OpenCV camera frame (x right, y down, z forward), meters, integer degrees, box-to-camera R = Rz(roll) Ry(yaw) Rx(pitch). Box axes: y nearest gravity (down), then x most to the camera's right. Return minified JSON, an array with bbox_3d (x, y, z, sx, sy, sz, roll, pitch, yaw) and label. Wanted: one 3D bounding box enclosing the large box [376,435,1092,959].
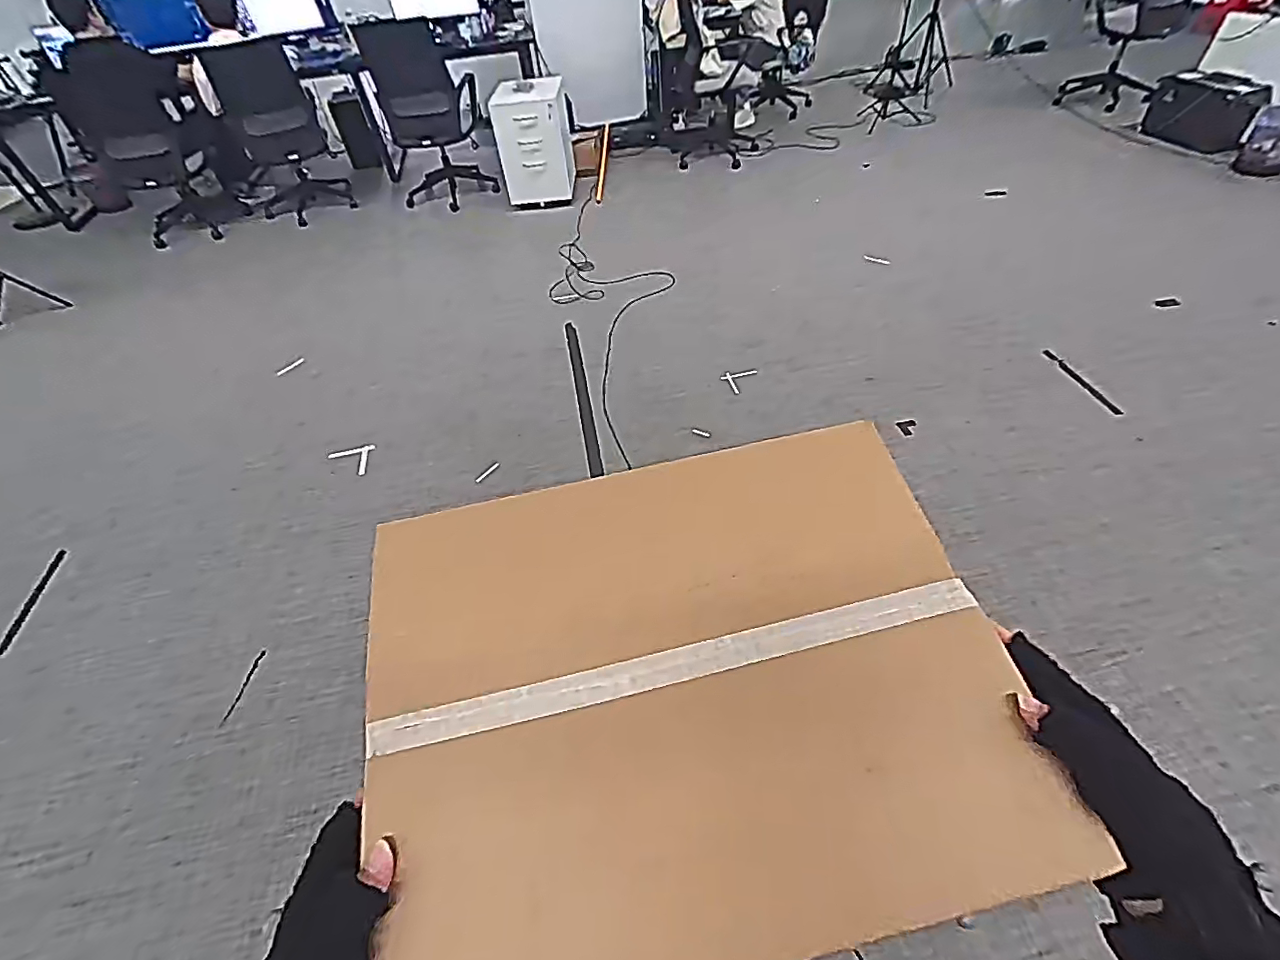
[{"bbox_3d":[0.037,0.208,0.486,0.408,0.320,0.320,-13,58,-4],"label":"large box"}]
